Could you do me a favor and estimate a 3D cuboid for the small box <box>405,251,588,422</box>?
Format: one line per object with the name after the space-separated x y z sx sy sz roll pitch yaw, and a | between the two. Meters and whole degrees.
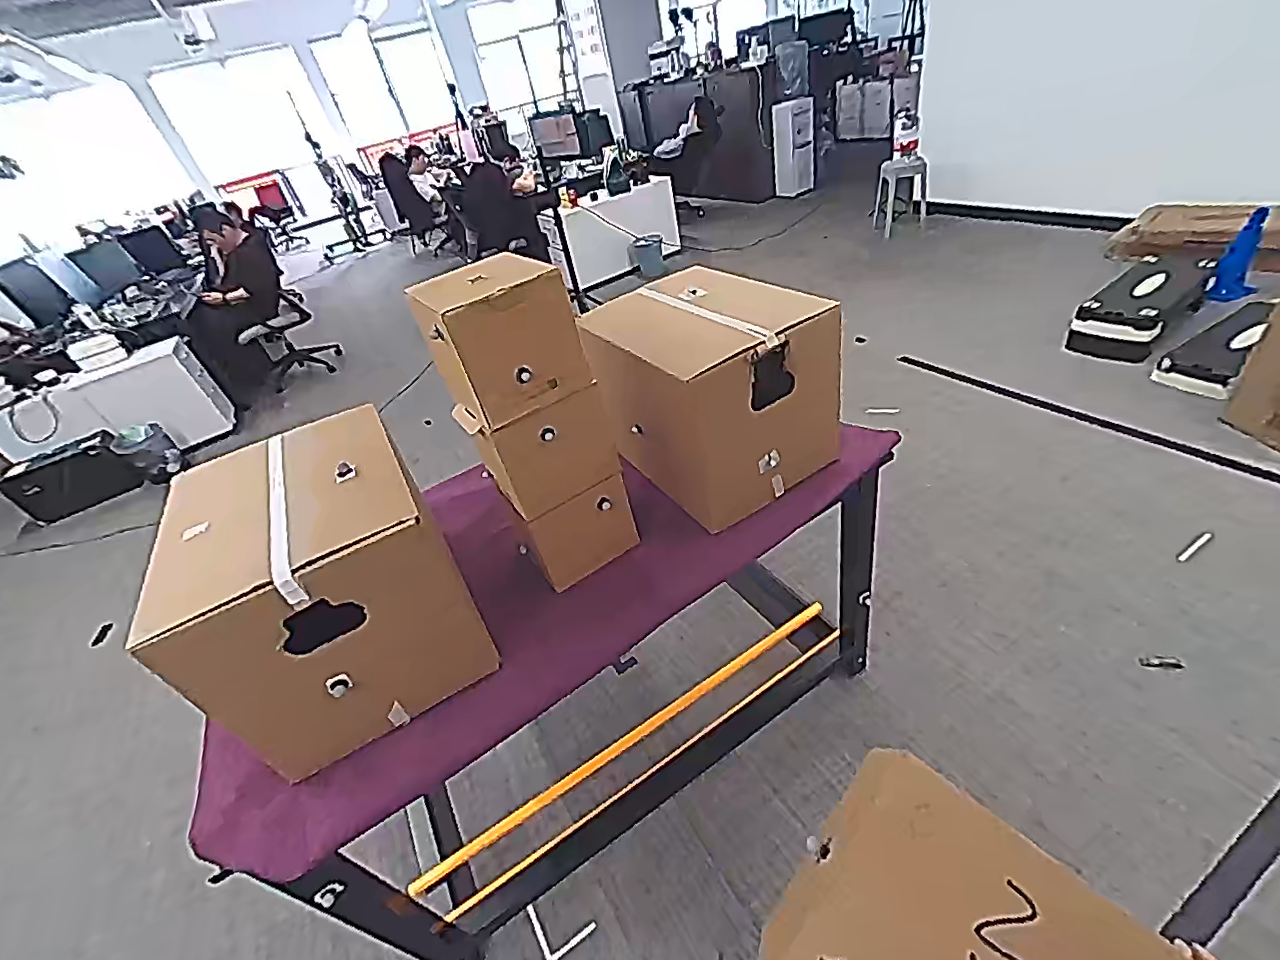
-0.197 -0.204 0.760 0.168 0.176 0.179 -31 41 -21 | small box

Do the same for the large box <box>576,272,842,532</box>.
0.127 -0.170 1.040 0.320 0.320 0.408 -28 38 -18 | large box
